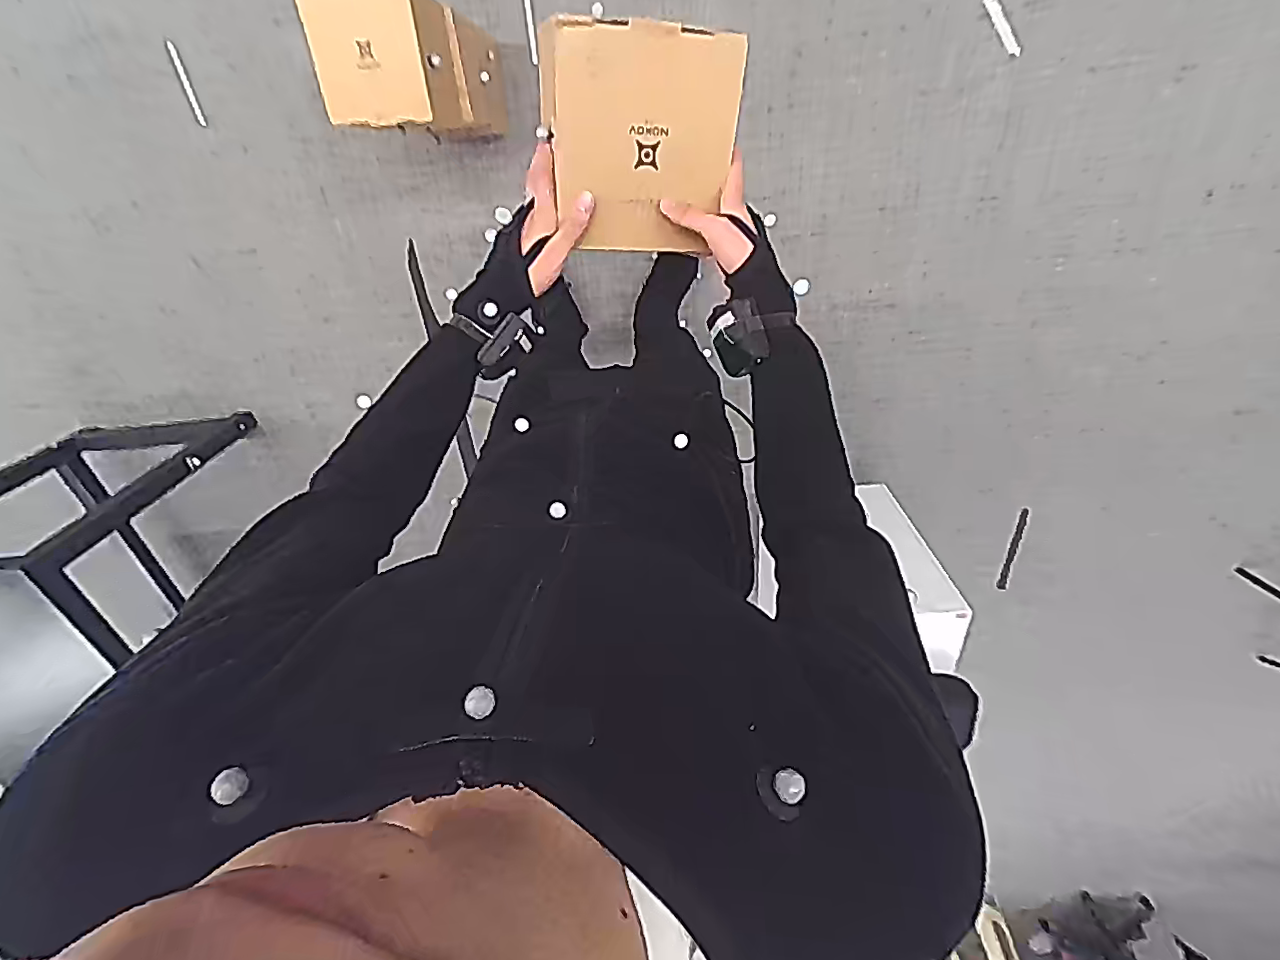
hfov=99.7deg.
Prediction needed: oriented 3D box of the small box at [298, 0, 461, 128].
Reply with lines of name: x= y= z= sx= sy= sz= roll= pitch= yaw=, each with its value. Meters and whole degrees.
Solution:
small box: x=-0.403 y=-0.674 z=0.865 sx=0.168 sy=0.176 sz=0.179 roll=-2 pitch=122 yaw=1

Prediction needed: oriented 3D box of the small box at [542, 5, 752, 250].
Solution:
small box: x=-0.008 y=-0.345 z=0.542 sx=0.168 sy=0.176 sz=0.179 roll=-4 pitch=128 yaw=-12

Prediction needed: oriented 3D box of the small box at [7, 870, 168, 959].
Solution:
small box: x=-1.314 y=1.071 z=1.303 sx=0.179 sy=0.176 sz=0.168 roll=-5 pitch=122 yaw=4

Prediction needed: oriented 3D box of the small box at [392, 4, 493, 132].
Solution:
small box: x=-0.392 y=-0.754 z=1.006 sx=0.179 sy=0.176 sz=0.168 roll=-4 pitch=122 yaw=2
